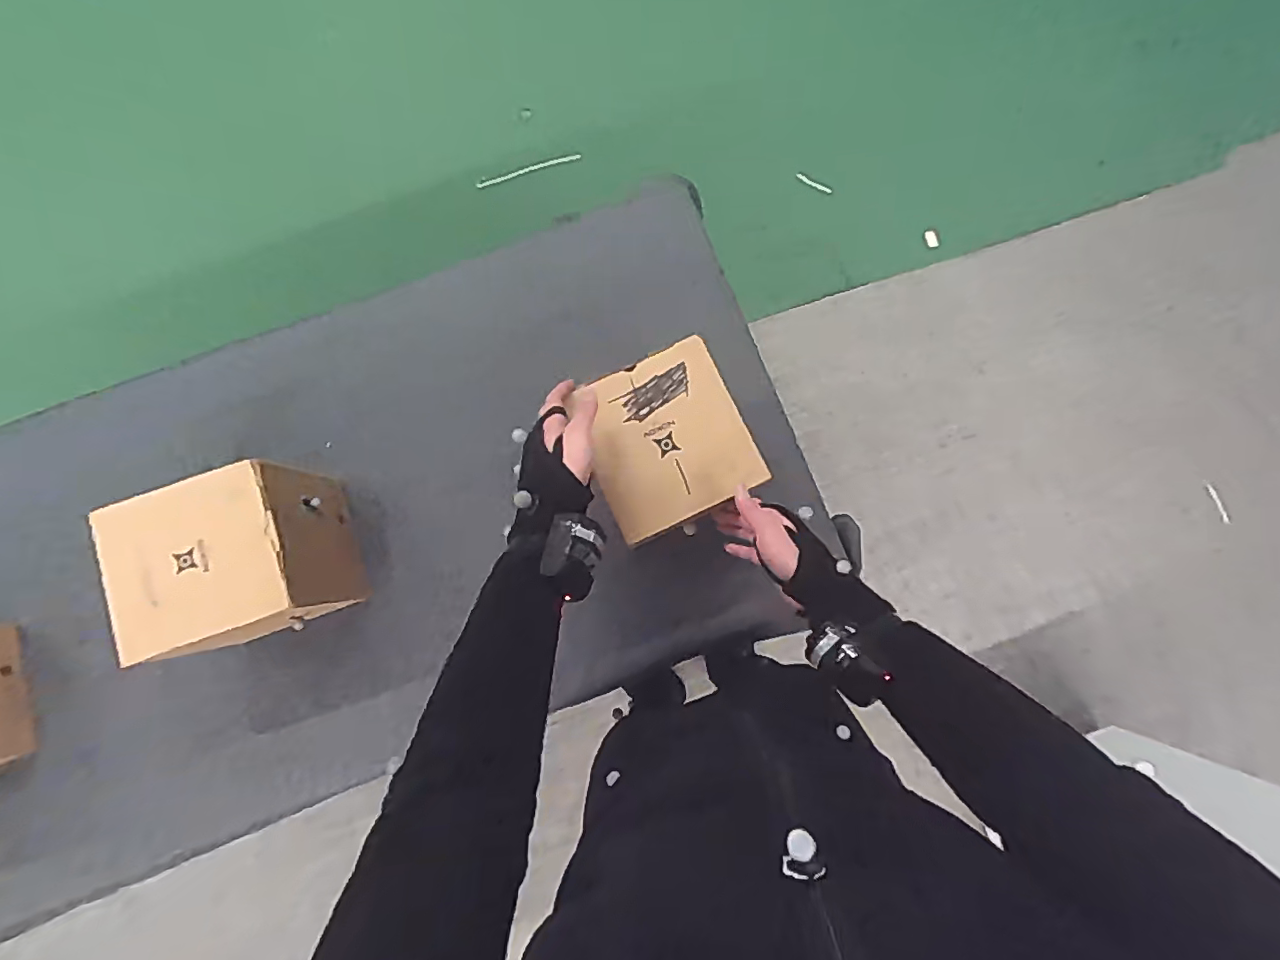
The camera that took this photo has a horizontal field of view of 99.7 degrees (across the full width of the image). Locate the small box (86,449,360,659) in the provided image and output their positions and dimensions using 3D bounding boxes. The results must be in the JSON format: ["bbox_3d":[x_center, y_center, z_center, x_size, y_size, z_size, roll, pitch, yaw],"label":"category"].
[{"bbox_3d":[-0.444,0.082,0.609,0.179,0.176,0.168,-19,80,-3],"label":"small box"}]

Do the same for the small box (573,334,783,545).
[{"bbox_3d":[0.035,-0.034,0.631,0.168,0.176,0.179,-25,83,-4],"label":"small box"}]

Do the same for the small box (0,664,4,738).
[{"bbox_3d":[-0.846,0.255,0.571,0.179,0.176,0.168,-19,81,-5],"label":"small box"}]
